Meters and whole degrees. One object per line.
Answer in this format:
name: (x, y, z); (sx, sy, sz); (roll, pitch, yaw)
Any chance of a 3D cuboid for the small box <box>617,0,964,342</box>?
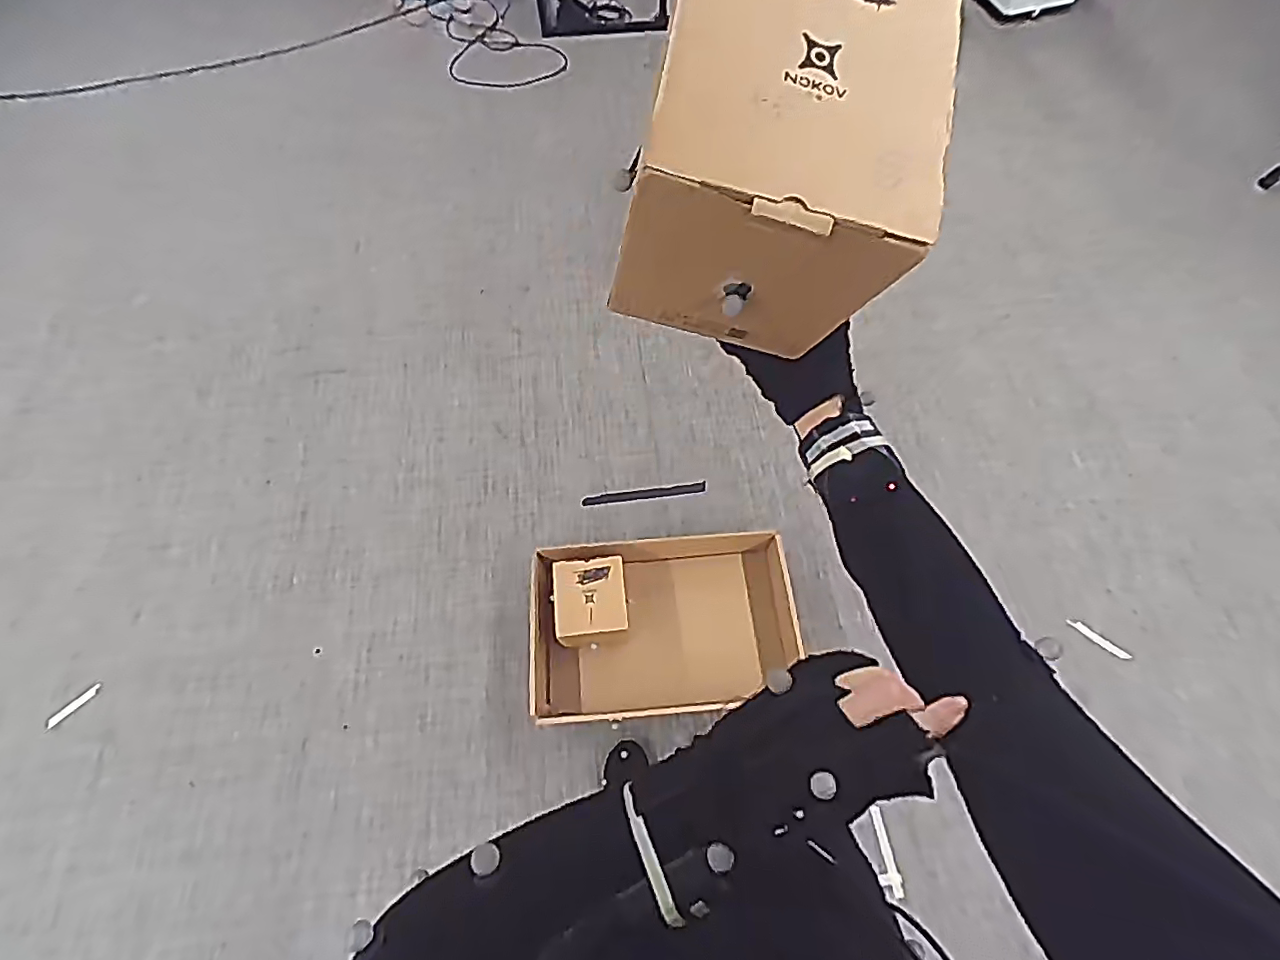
small box: (0.083, -0.217, 0.373); (0.168, 0.176, 0.179); (12, 81, -7)
